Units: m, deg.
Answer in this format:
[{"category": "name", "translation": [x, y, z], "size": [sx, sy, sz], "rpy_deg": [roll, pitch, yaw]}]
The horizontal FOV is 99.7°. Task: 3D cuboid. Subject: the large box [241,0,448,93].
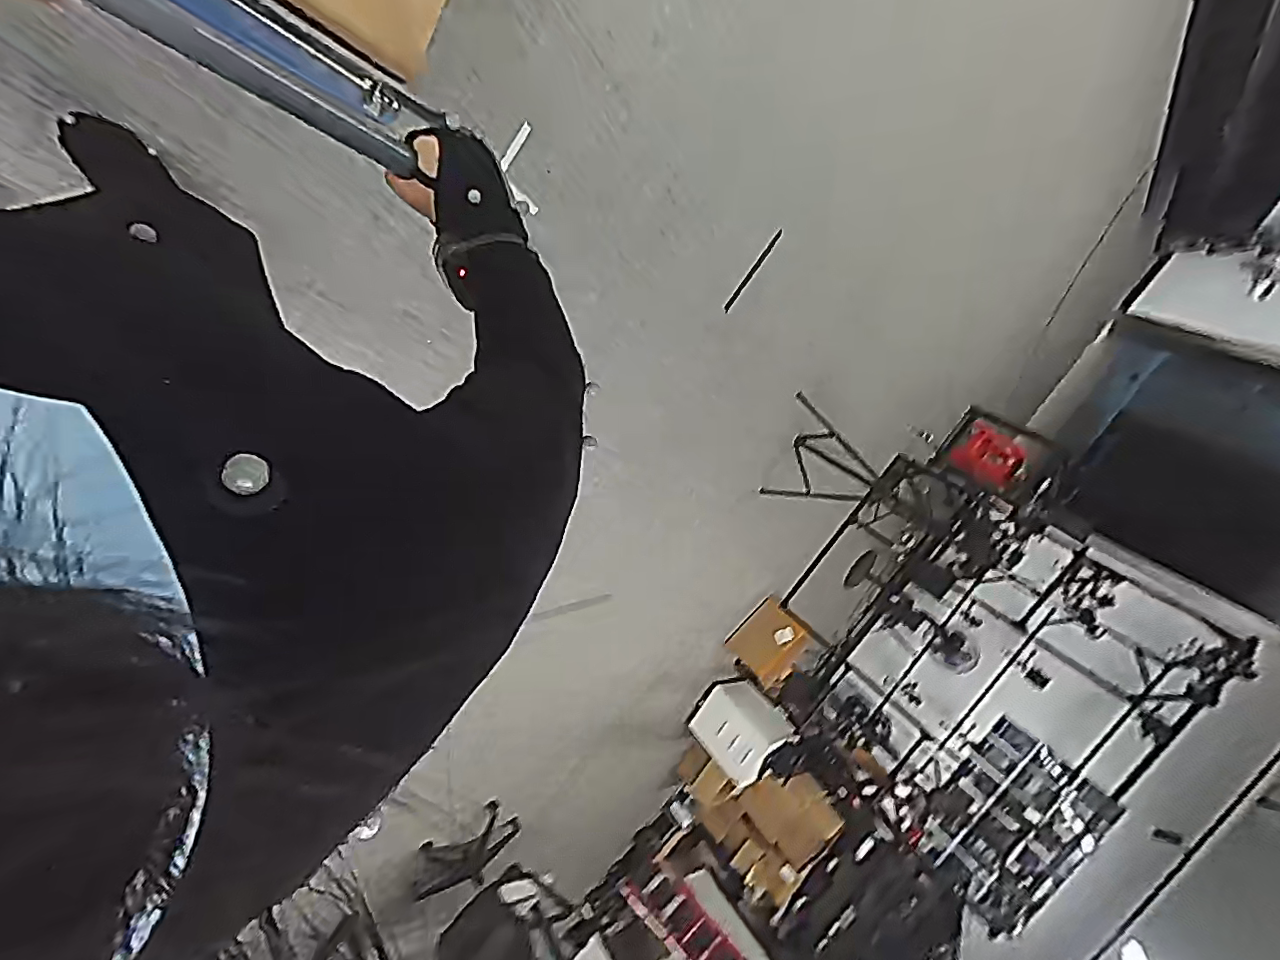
[{"category": "large box", "translation": [-0.476, -0.793, 0.688], "size": [0.408, 0.320, 0.320], "rpy_deg": [11, 116, -49]}]
